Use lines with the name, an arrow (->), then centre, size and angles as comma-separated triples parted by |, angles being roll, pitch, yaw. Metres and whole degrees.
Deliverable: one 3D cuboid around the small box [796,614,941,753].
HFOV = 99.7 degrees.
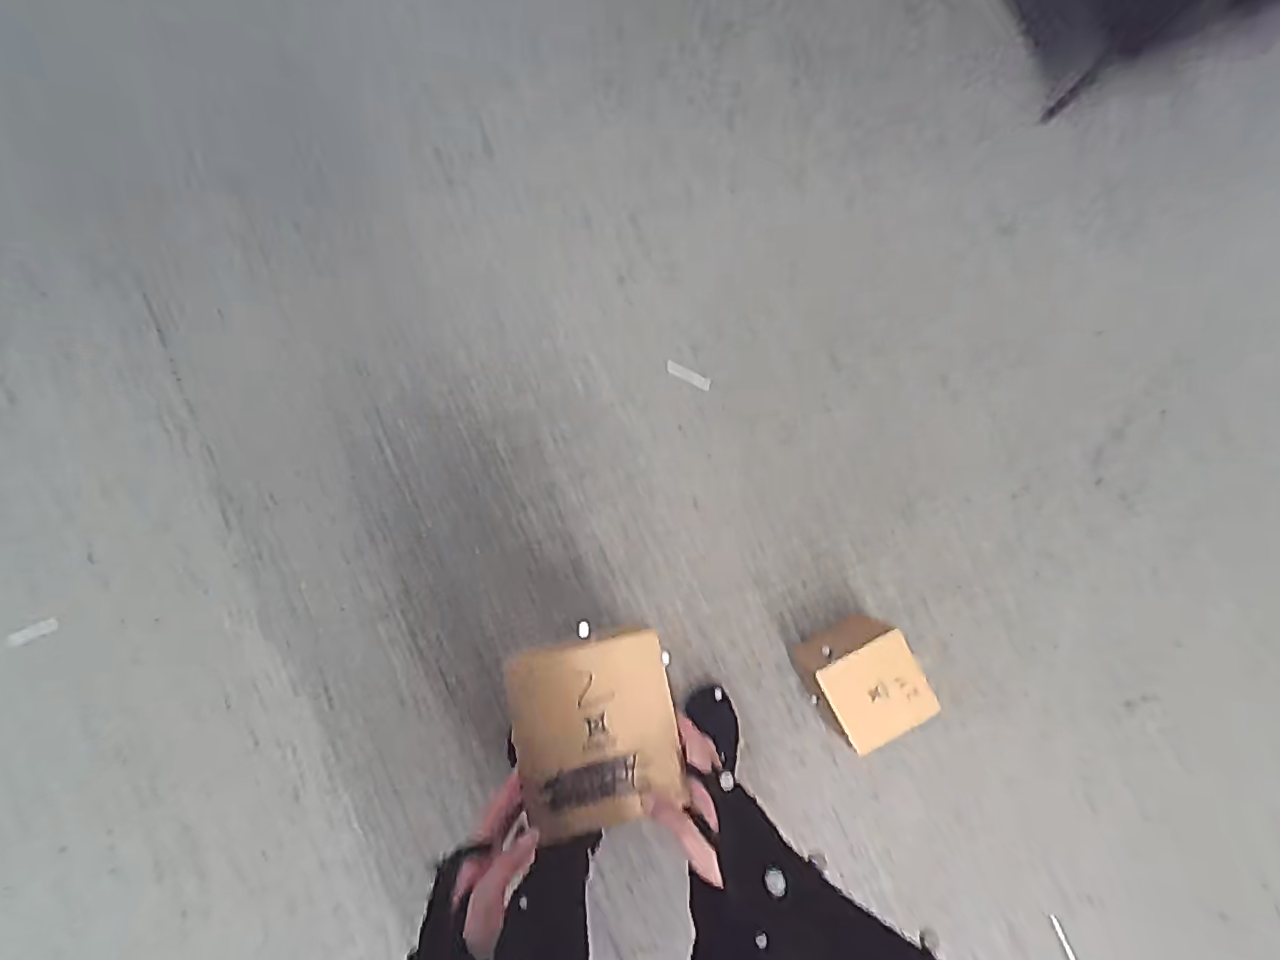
small box -> 0.421, 0.378, 1.037 | 0.179, 0.176, 0.168 | -27, 87, -3
